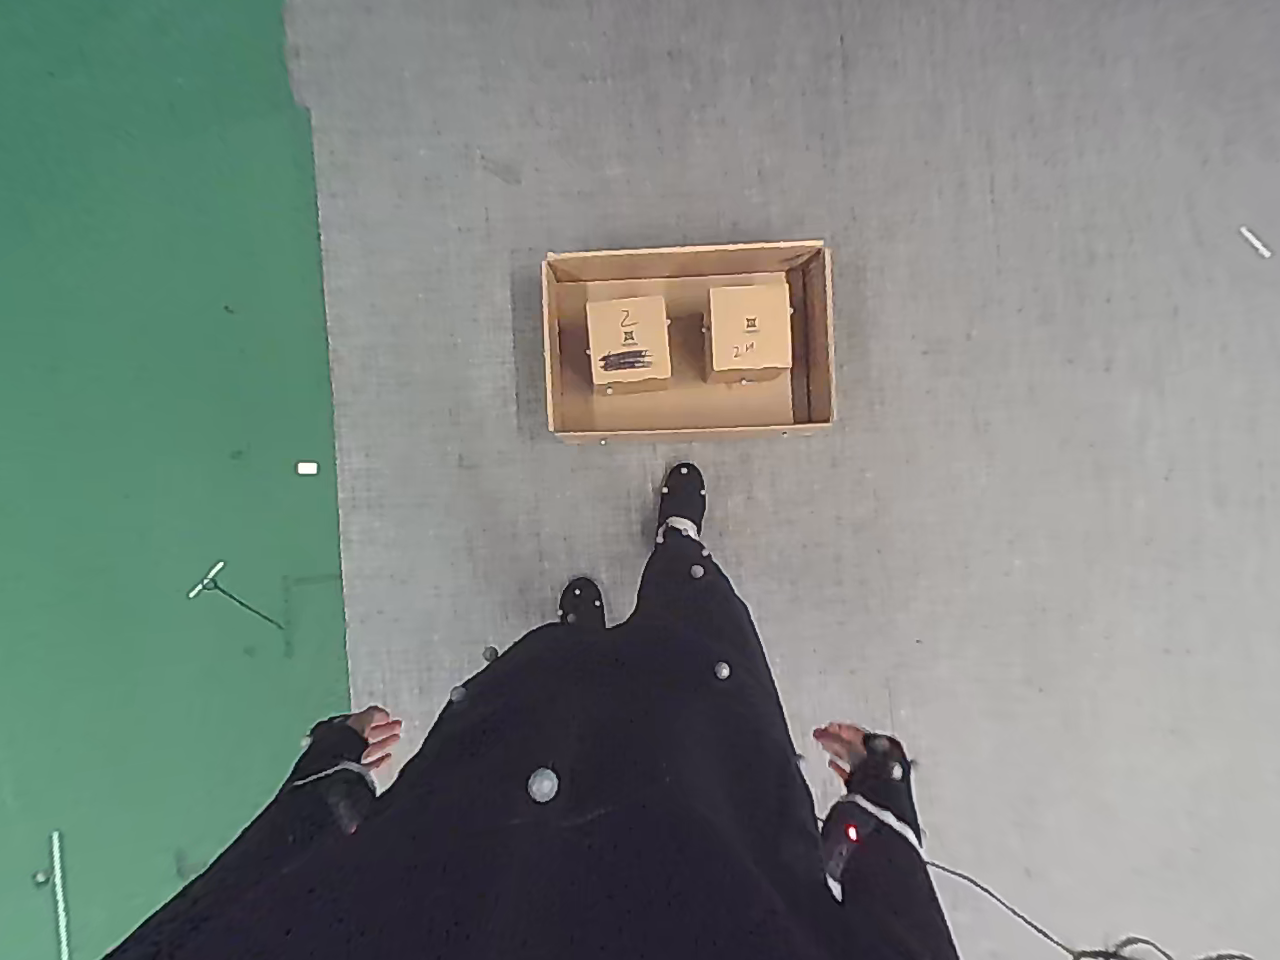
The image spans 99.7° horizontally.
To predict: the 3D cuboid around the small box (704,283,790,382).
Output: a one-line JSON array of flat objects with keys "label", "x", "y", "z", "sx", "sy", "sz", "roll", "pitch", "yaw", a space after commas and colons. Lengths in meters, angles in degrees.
[{"label": "small box", "x": 0.232, "y": -0.322, "z": 1.207, "sx": 0.168, "sy": 0.176, "sz": 0.179, "roll": -2, "pitch": 91, "yaw": 3}]
